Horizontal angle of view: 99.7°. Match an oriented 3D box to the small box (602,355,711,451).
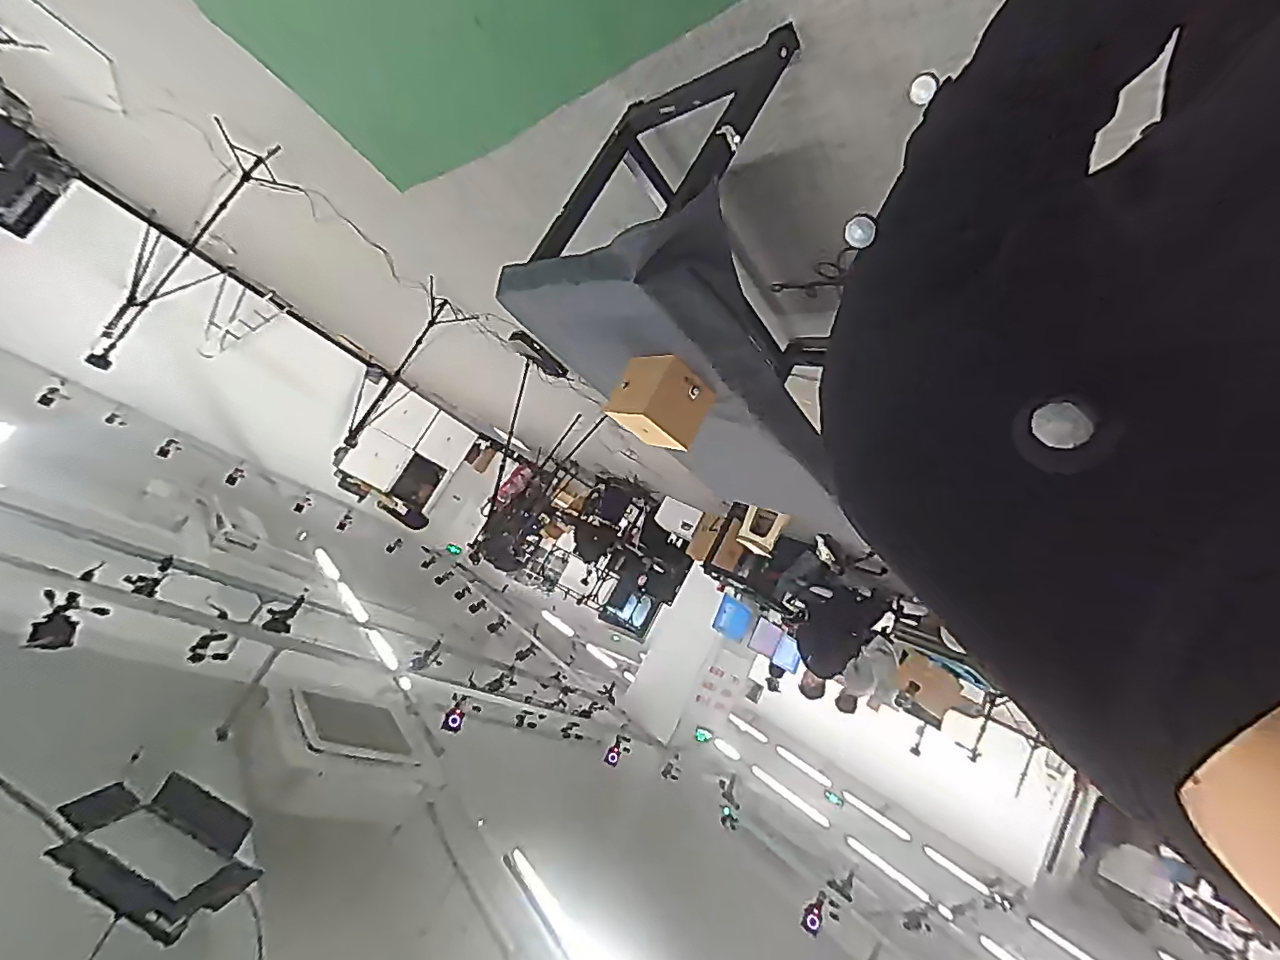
[{"bbox_3d":[0.044,-0.191,1.332,0.168,0.176,0.179,34,168,-34],"label":"small box"}]
